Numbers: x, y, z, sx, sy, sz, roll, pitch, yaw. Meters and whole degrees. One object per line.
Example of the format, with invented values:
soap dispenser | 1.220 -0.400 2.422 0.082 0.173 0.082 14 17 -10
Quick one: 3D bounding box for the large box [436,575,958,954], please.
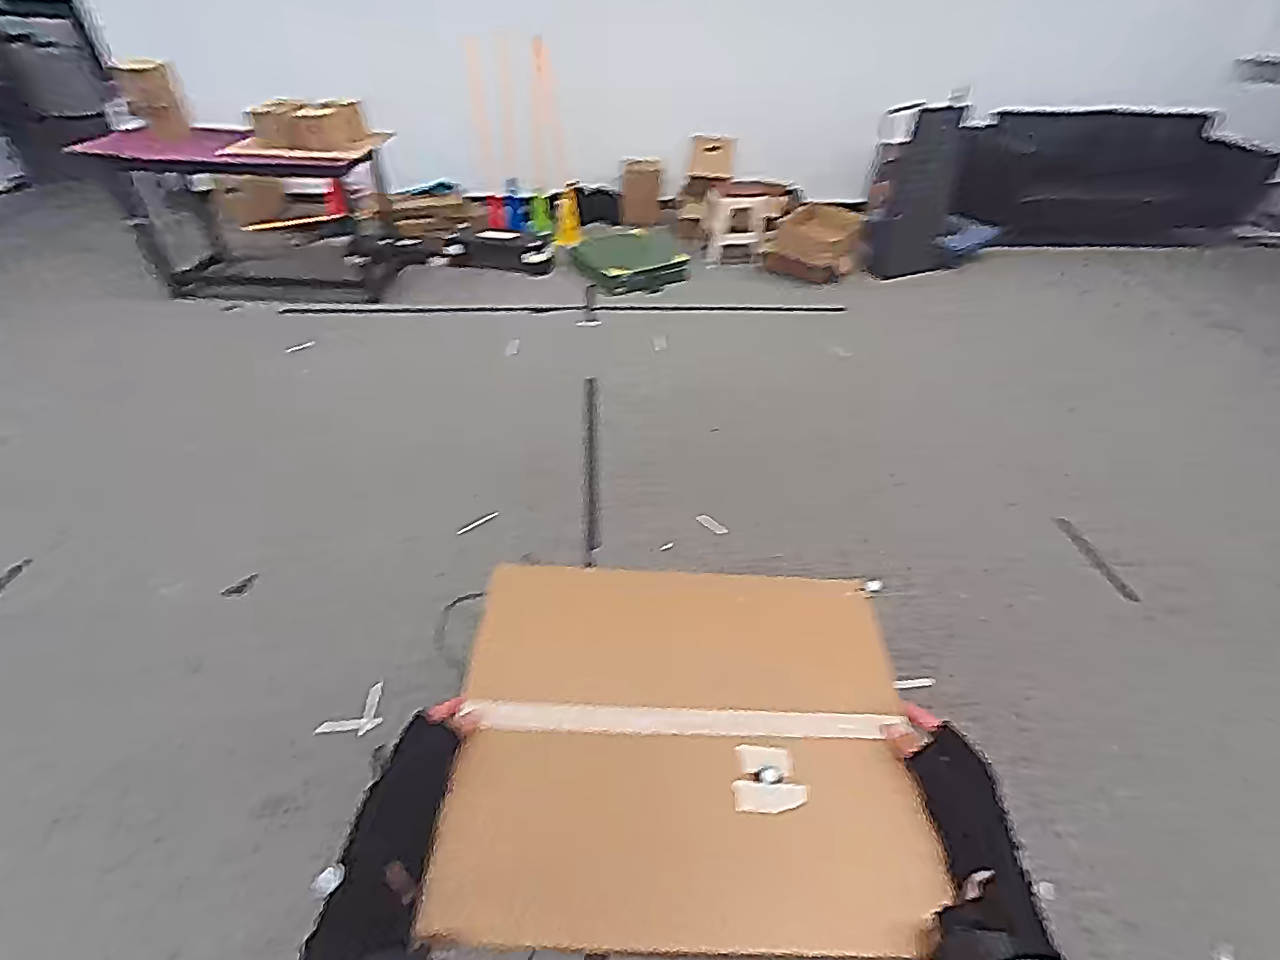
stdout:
large box | 0.036 0.326 0.609 0.408 0.320 0.320 3 49 -3
